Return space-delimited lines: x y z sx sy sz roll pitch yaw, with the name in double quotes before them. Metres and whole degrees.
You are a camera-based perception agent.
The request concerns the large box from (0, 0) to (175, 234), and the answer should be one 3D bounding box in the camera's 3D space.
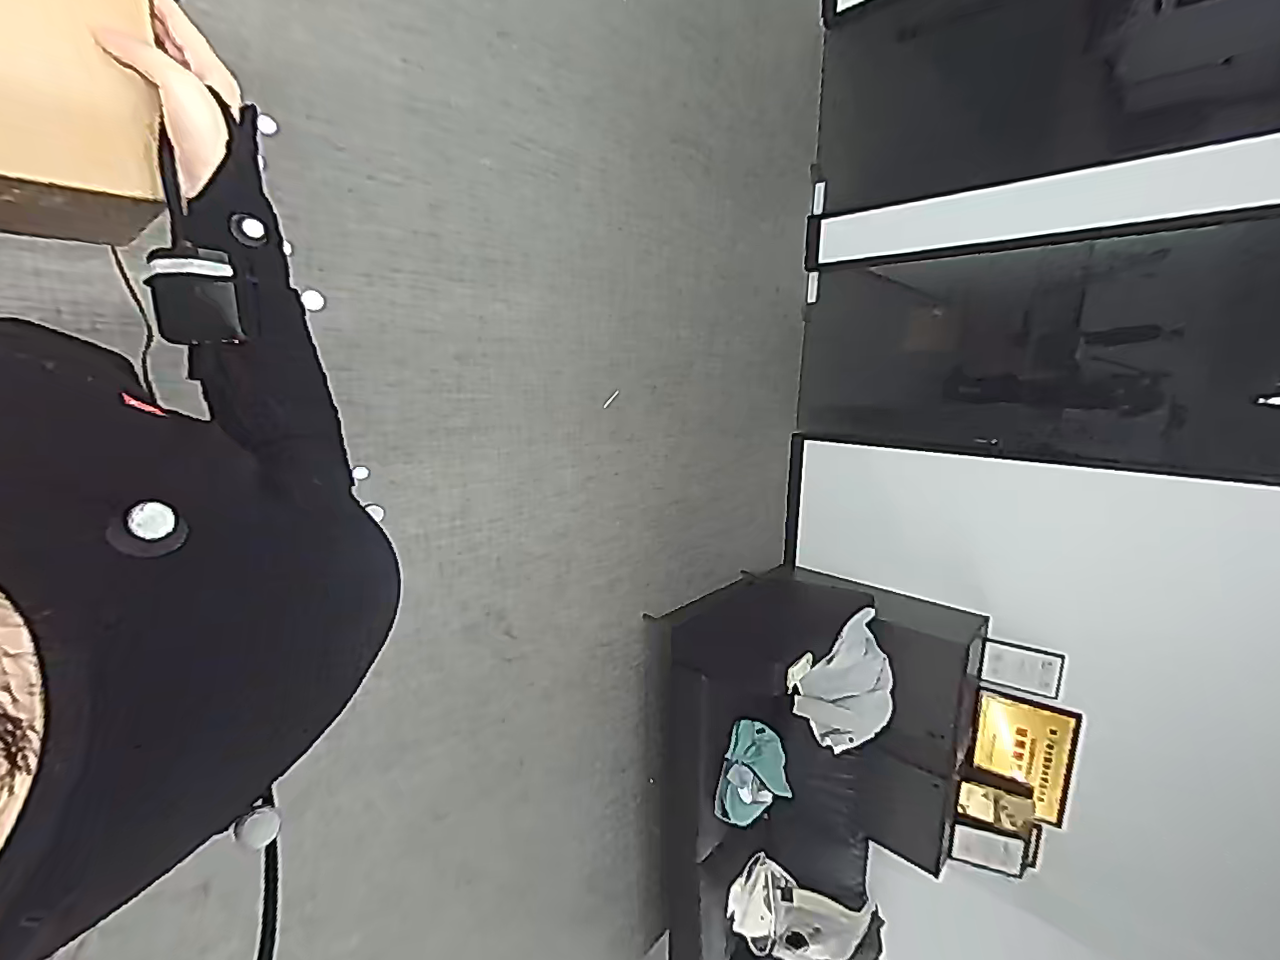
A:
"large box" -0.581 -0.351 0.310 0.408 0.320 0.320 -14 112 -47
